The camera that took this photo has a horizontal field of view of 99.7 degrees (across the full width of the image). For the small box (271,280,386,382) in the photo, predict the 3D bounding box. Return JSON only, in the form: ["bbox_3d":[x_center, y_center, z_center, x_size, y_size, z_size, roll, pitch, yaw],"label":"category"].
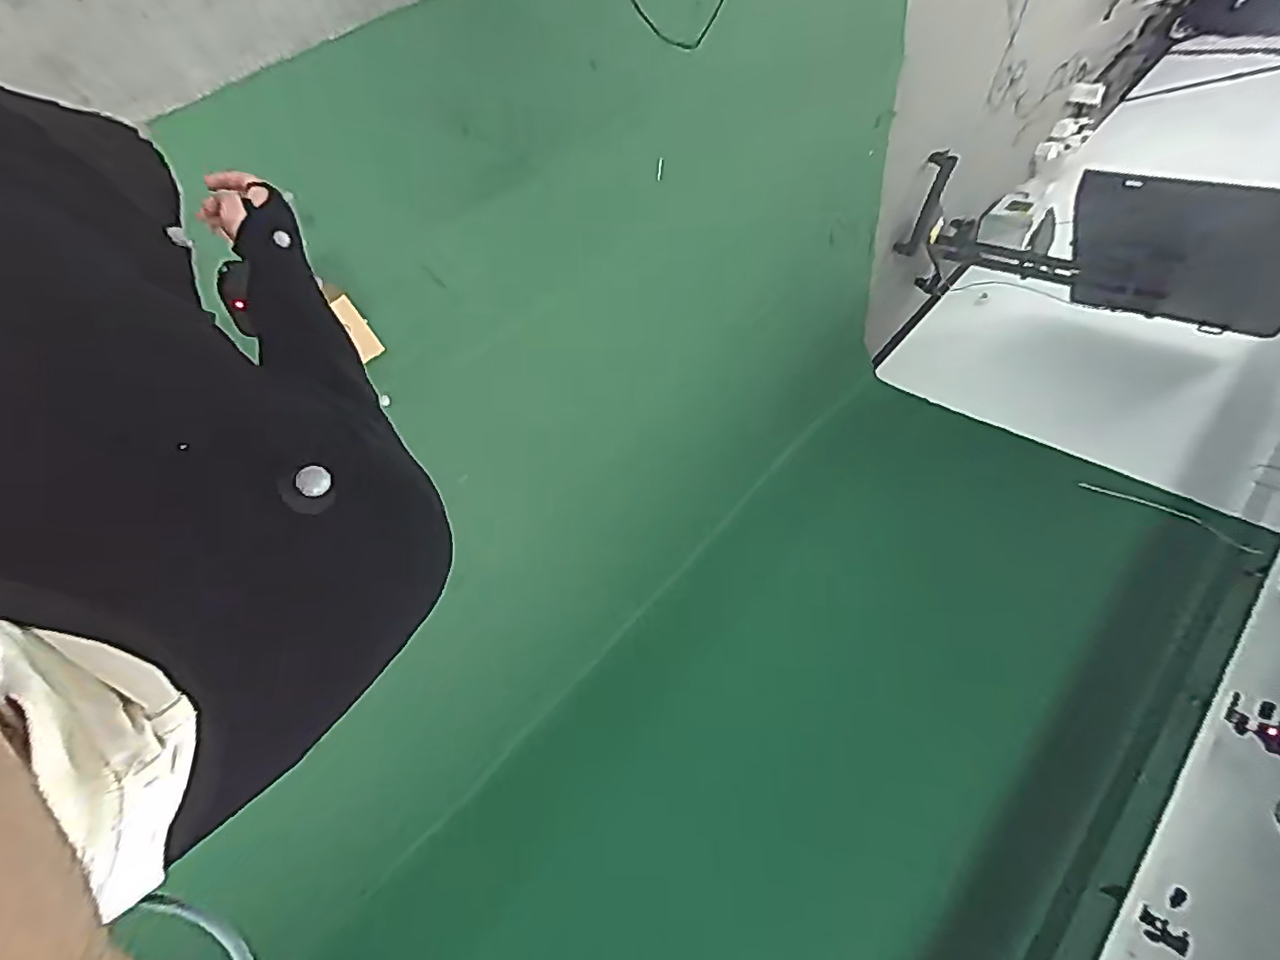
[{"bbox_3d":[-0.814,-0.394,1.418,0.168,0.176,0.179,-44,144,-19],"label":"small box"}]
